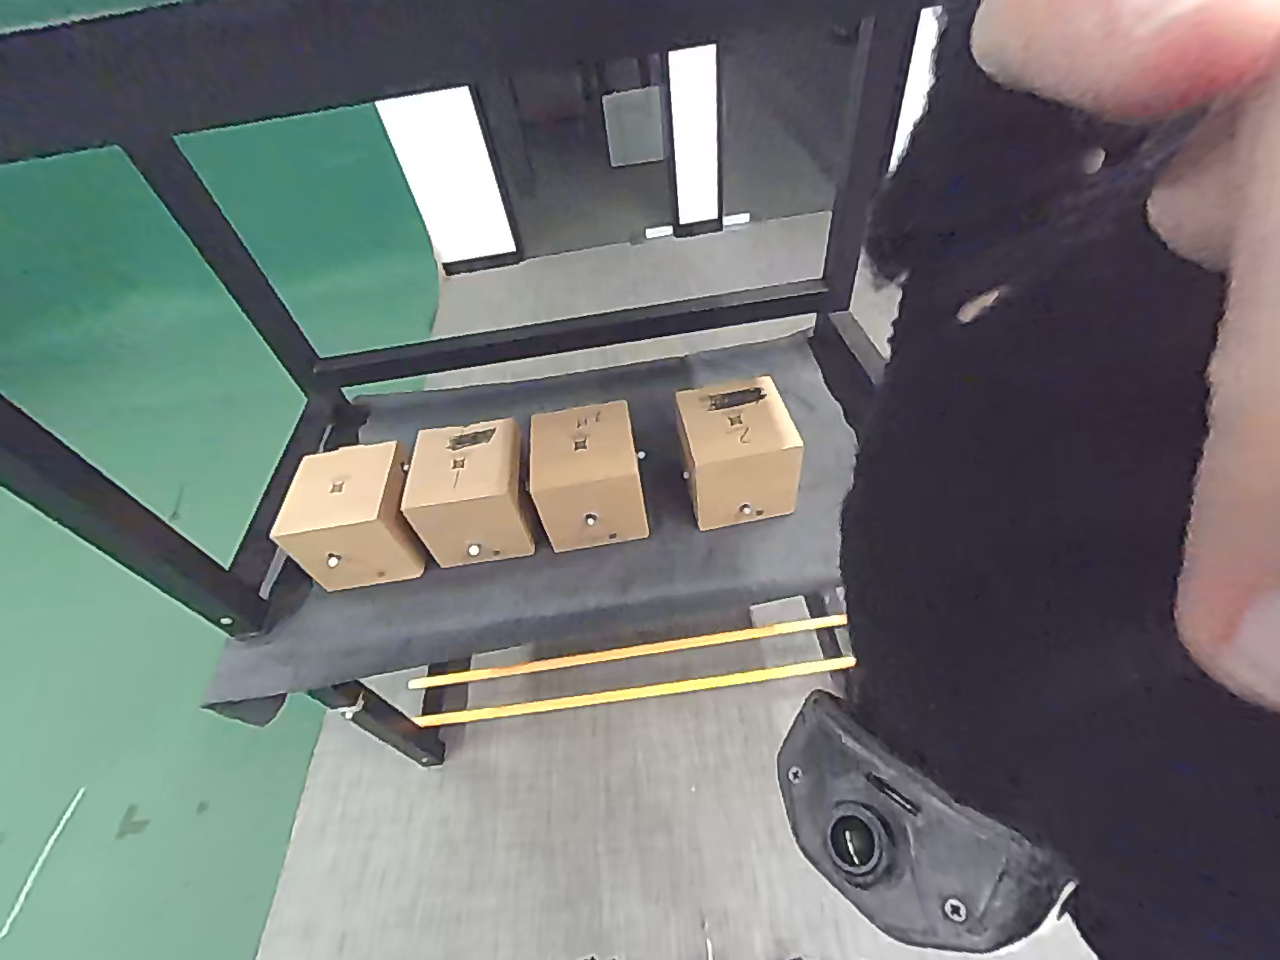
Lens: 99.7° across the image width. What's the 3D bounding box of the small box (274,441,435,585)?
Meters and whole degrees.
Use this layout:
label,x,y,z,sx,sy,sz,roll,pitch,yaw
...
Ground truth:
label,x,y,z,sx,sy,sz,roll,pitch,yaw
small box,-0.467,0.063,0.919,0.168,0.176,0.179,-9,47,0
